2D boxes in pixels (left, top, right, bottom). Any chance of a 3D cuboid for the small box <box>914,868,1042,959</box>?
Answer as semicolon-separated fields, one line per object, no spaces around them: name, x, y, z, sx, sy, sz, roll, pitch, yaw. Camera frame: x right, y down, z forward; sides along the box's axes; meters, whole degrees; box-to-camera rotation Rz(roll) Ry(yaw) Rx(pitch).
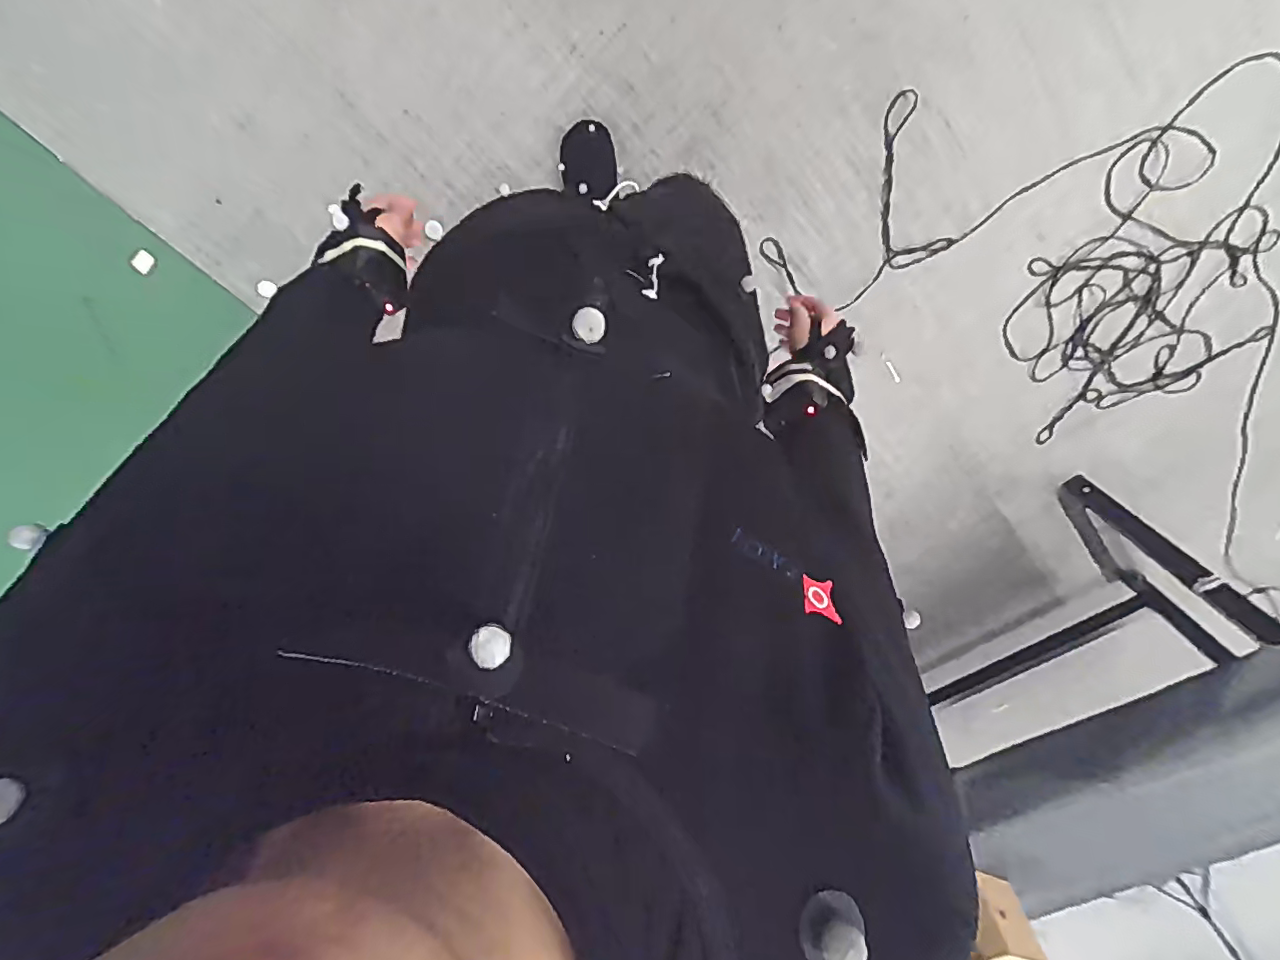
small box;0.814;1.081;1.323;0.179;0.176;0.168;30;119;-23
